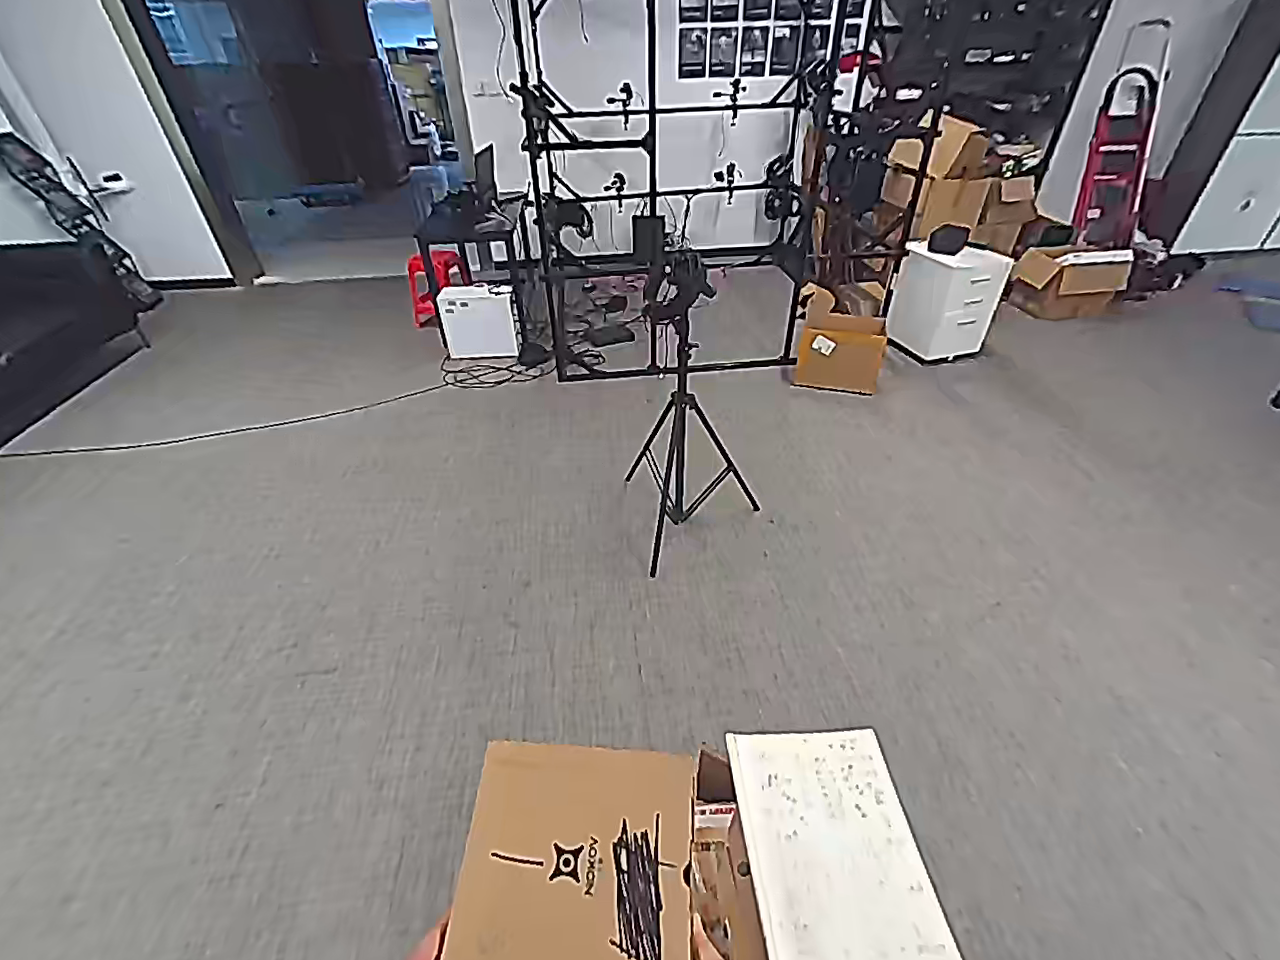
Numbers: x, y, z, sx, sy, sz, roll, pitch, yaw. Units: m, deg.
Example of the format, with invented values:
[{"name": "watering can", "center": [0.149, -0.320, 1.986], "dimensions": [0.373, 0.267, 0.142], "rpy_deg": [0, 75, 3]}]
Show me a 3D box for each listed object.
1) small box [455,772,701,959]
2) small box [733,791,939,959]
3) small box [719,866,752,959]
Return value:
[{"name": "small box", "center": [-0.044, 0.365, 0.466], "dimensions": [0.179, 0.176, 0.168], "rpy_deg": [4, 51, 2]}, {"name": "small box", "center": [0.219, 0.516, 0.664], "dimensions": [0.168, 0.176, 0.179], "rpy_deg": [-3, 38, -5]}, {"name": "small box", "center": [0.221, 0.650, 0.759], "dimensions": [0.179, 0.176, 0.168], "rpy_deg": [-5, 39, -7]}]
